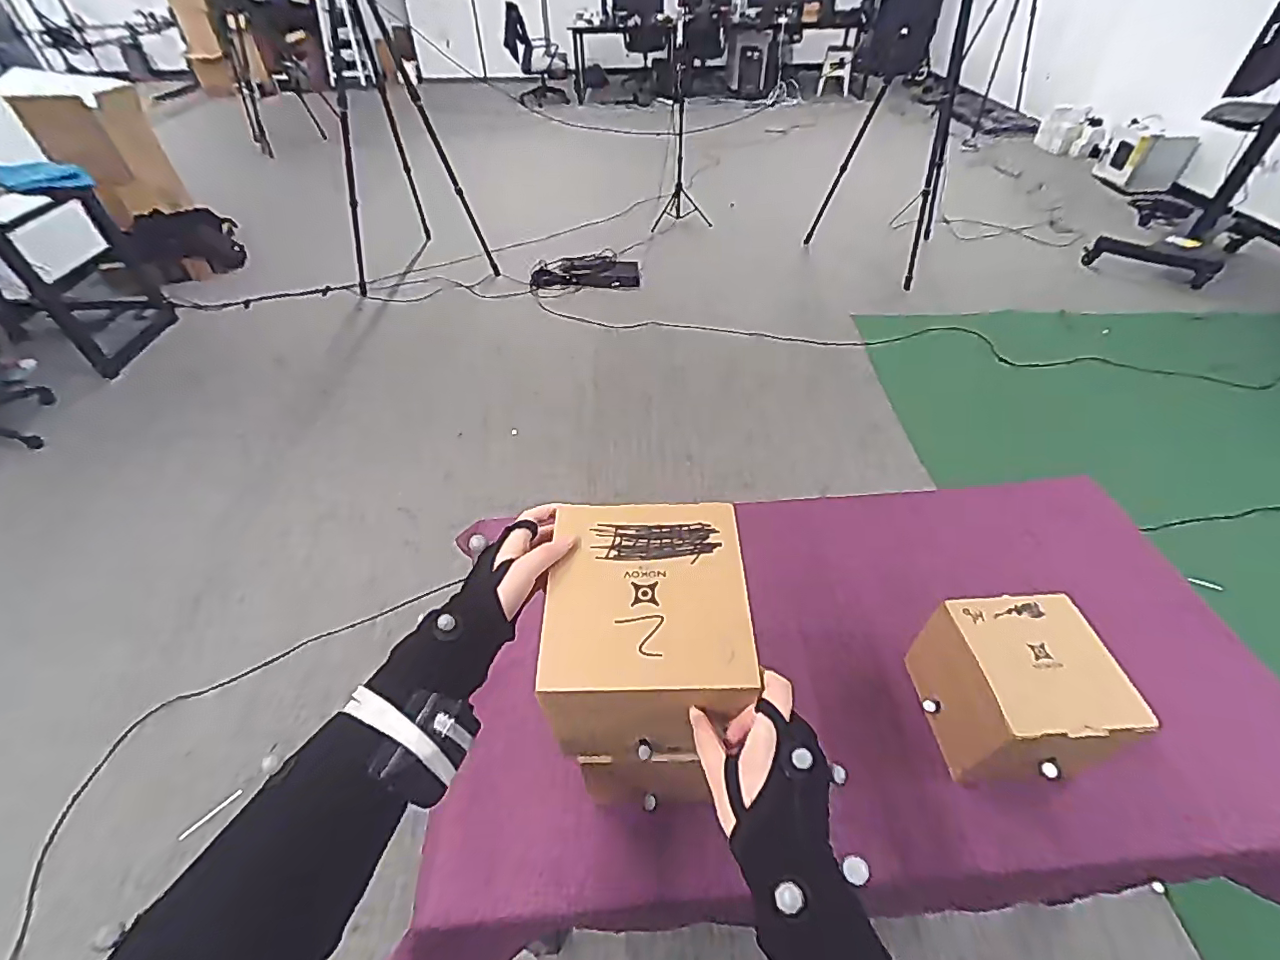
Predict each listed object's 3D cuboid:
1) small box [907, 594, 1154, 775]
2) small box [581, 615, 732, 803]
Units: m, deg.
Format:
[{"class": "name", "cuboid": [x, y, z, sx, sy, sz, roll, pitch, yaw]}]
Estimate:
[{"class": "small box", "cuboid": [0.482, 0.271, 0.706, 0.168, 0.176, 0.179, -2, 46, -1]}, {"class": "small box", "cuboid": [0.017, 0.293, 0.693, 0.168, 0.176, 0.179, -1, 46, 0]}]
